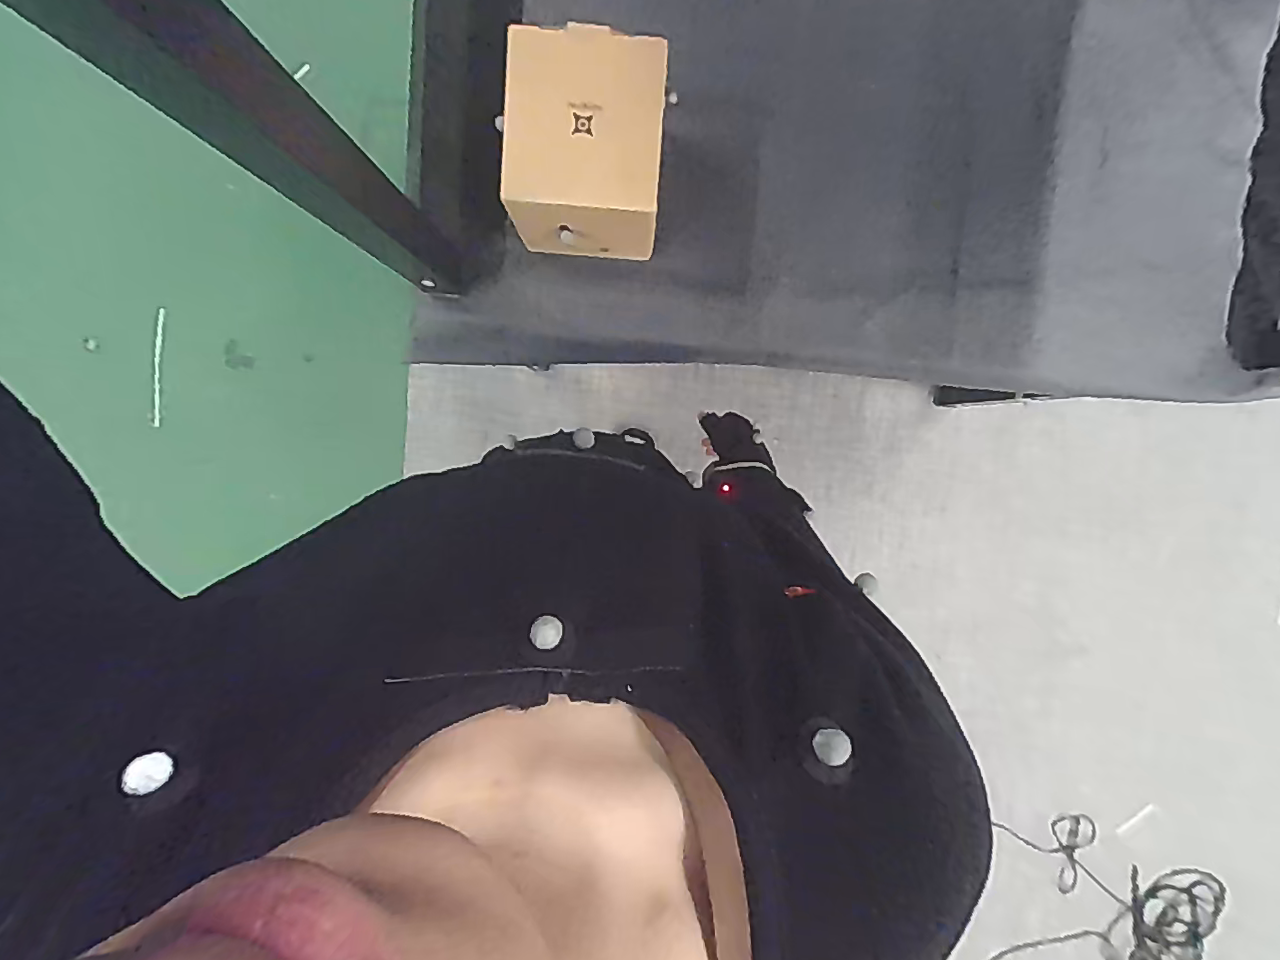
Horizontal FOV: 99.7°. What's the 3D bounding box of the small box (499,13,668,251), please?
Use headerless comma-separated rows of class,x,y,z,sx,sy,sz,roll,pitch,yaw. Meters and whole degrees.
small box,-0.060,-0.384,0.630,0.168,0.176,0.179,4,95,-2
